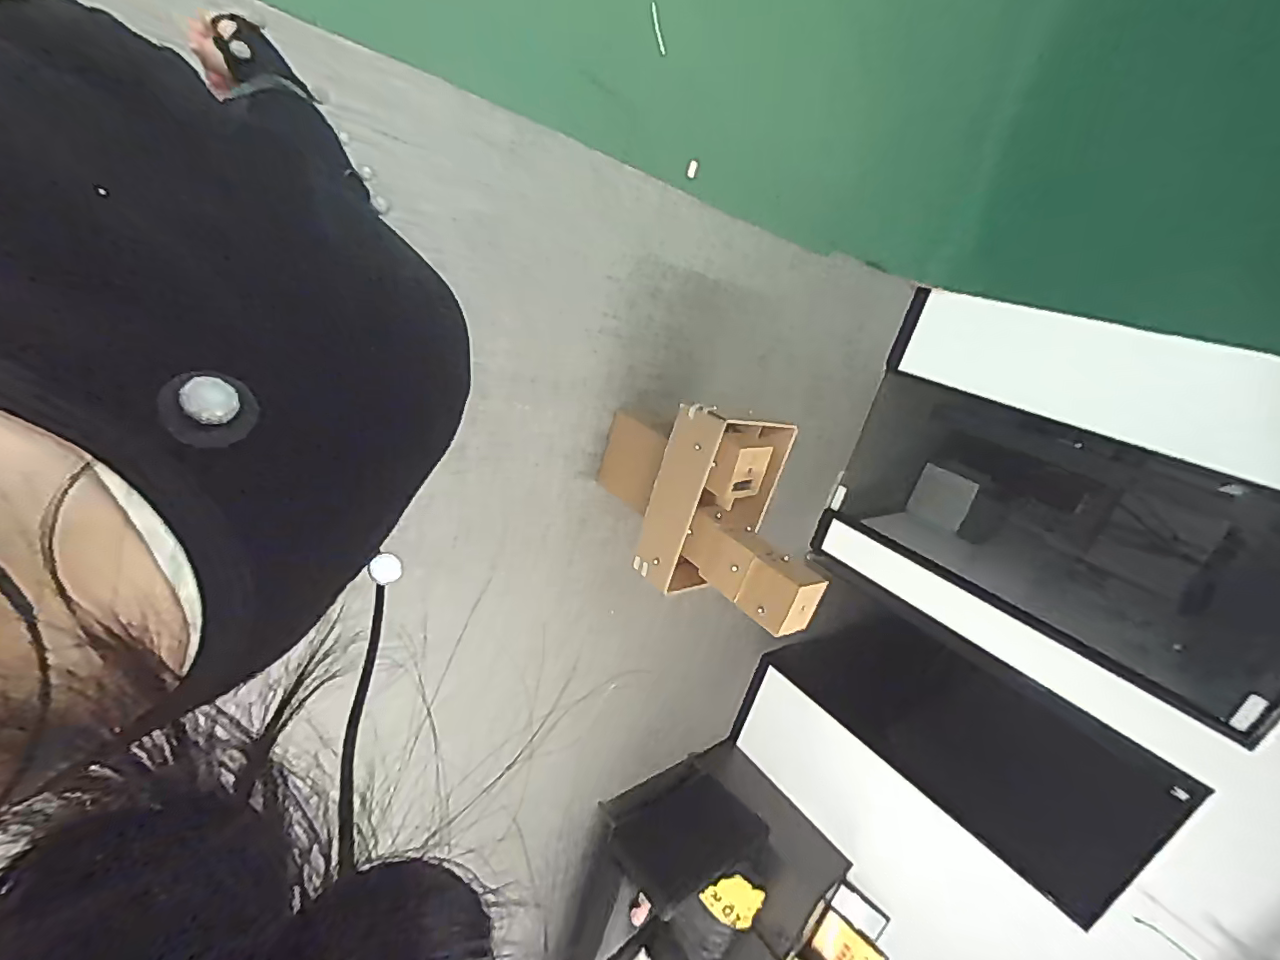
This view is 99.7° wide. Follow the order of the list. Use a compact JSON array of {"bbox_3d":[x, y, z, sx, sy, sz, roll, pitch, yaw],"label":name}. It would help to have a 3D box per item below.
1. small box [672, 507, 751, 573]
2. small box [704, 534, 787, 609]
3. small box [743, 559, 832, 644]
[{"bbox_3d":[0.237,0.200,1.827,0.179,0.176,0.168,6,112,-44],"label":"small box"},{"bbox_3d":[0.330,0.283,1.719,0.168,0.176,0.179,4,113,-43],"label":"small box"},{"bbox_3d":[0.433,0.358,1.617,0.168,0.176,0.179,3,113,-43],"label":"small box"}]
